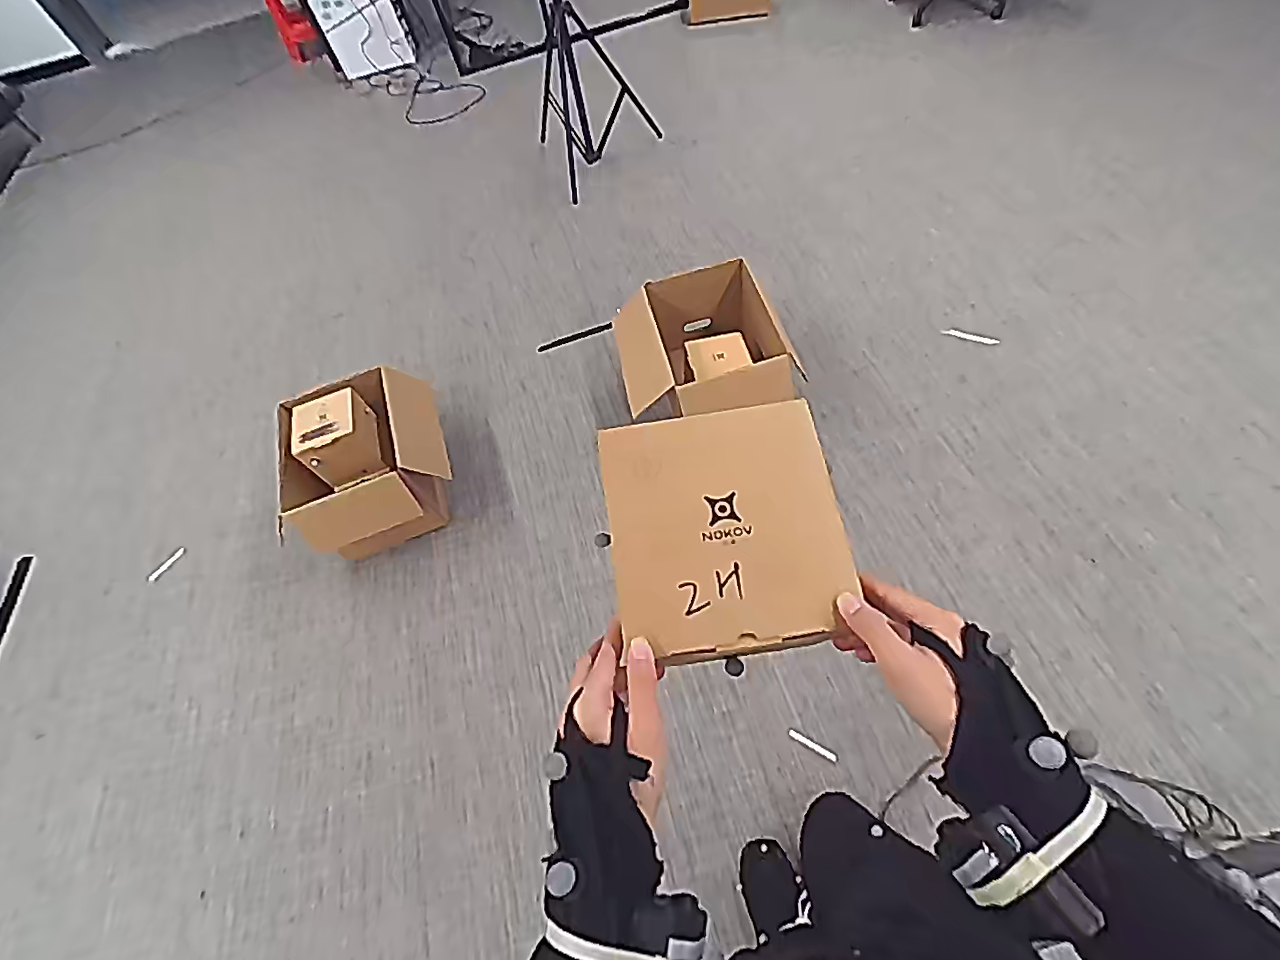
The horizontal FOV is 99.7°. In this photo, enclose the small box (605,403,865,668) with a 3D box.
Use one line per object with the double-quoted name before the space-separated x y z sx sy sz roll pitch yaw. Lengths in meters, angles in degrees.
"small box" 0.065 0.058 0.468 0.168 0.176 0.179 -9 69 1
